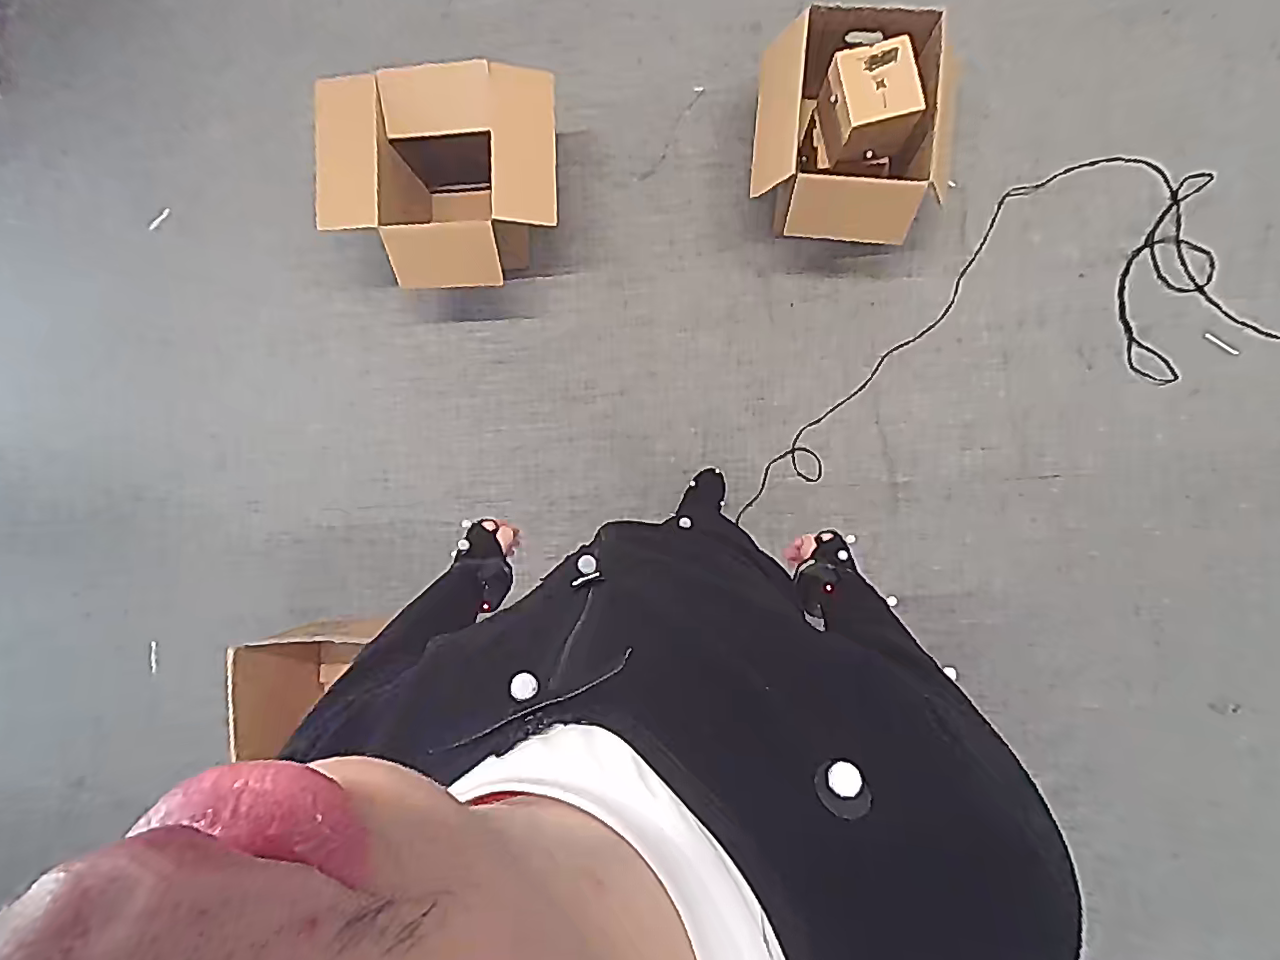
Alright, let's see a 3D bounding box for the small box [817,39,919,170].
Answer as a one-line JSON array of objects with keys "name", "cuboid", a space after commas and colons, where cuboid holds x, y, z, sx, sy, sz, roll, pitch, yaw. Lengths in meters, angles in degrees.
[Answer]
[{"name": "small box", "cuboid": [0.528, -0.876, 1.275, 0.168, 0.176, 0.179, -9, 87, 5]}]
